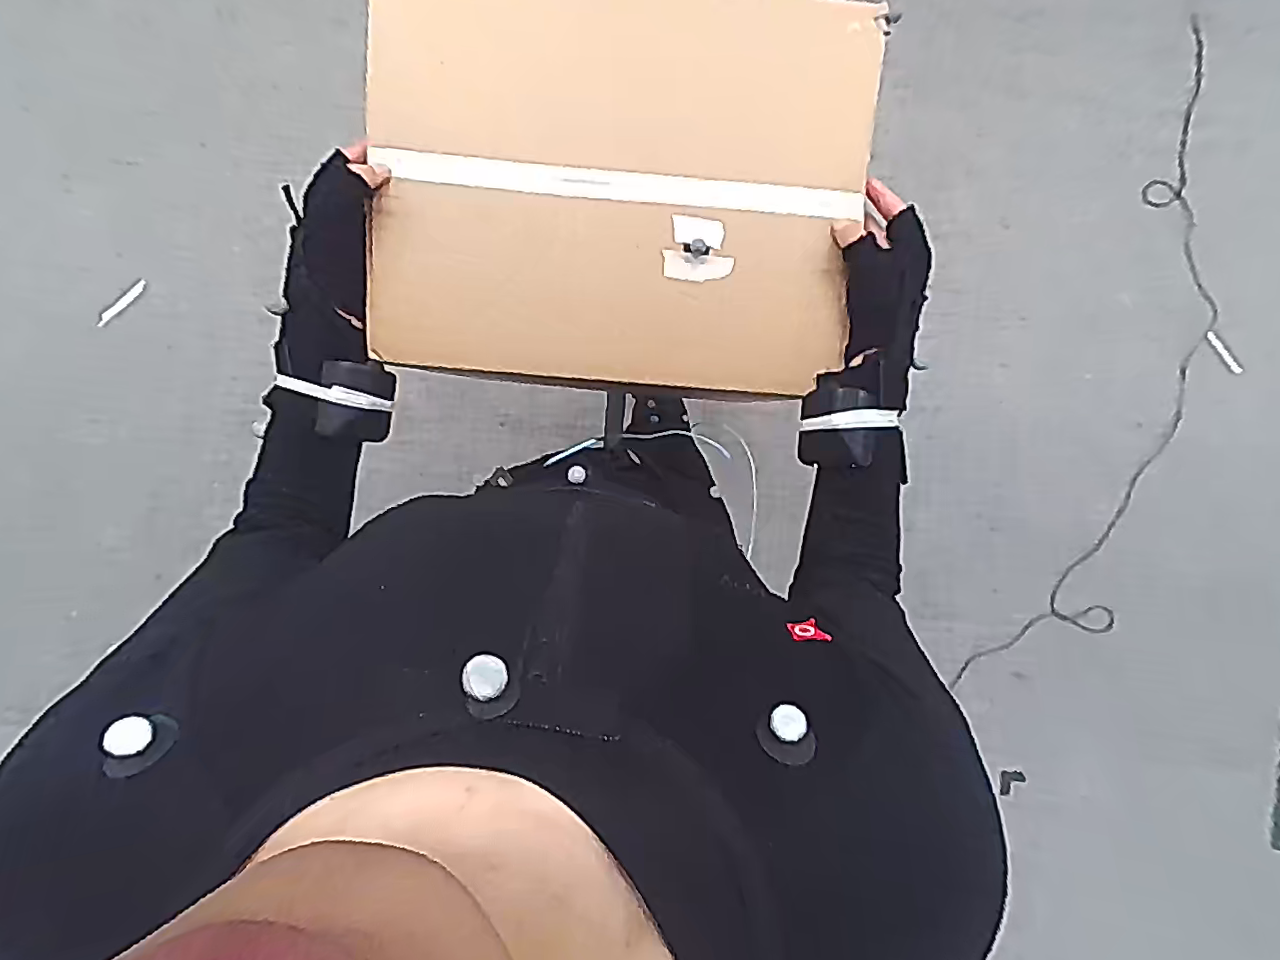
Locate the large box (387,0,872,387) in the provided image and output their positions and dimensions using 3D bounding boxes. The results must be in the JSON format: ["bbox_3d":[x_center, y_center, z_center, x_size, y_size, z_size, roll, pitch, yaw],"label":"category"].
[{"bbox_3d":[-0.021,-0.274,0.606,0.408,0.320,0.320,4,99,-3],"label":"large box"}]
